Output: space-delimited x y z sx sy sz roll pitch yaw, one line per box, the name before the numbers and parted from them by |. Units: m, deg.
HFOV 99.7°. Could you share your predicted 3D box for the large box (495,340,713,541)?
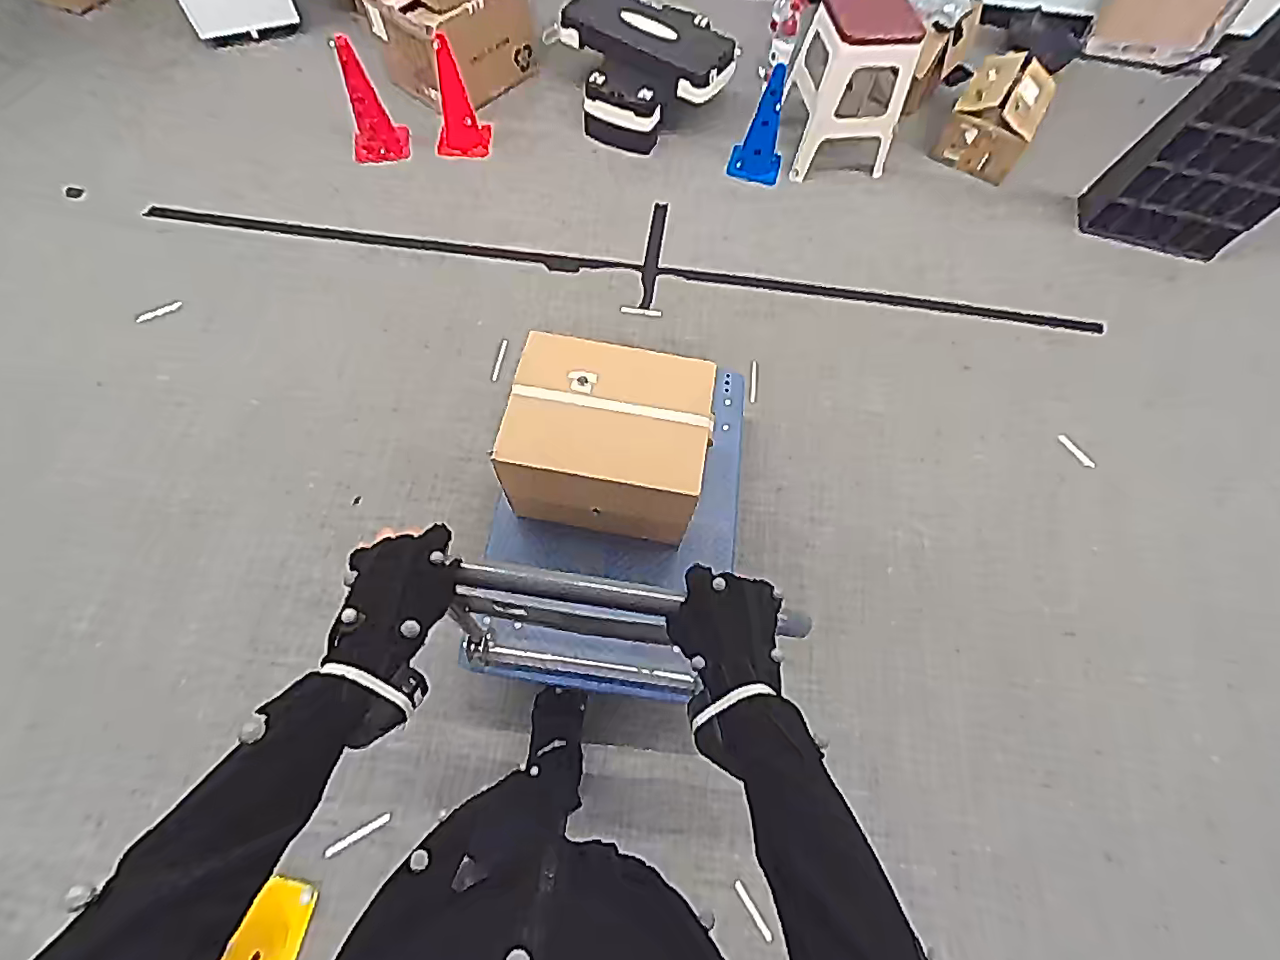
large box | -0.066 -0.075 1.234 0.408 0.320 0.320 10 65 2
